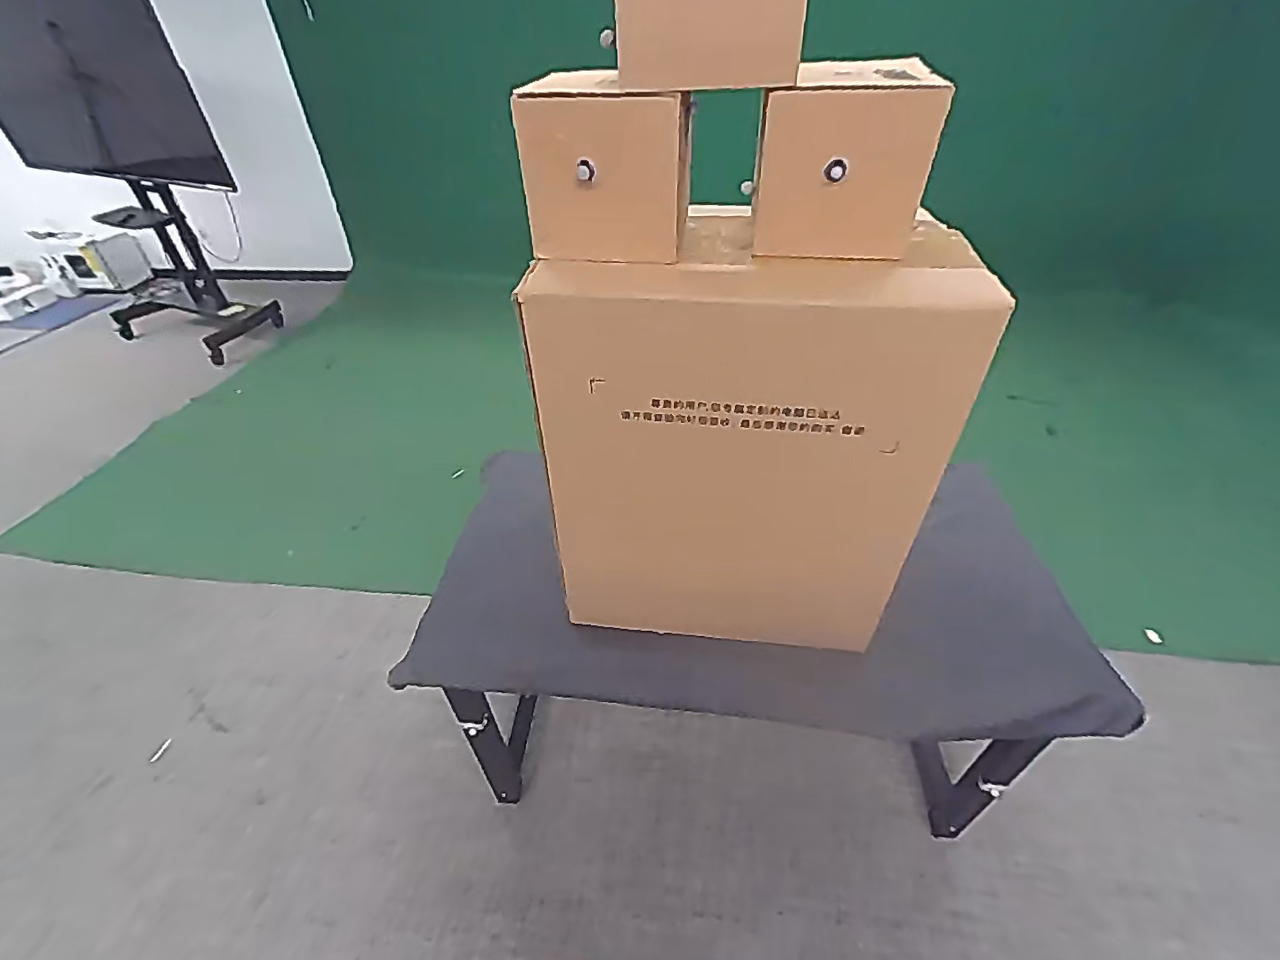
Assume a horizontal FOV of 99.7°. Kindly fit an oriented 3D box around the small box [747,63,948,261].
[{"bbox_3d":[0.224,-0.371,0.635,0.179,0.176,0.168,4,44,8],"label":"small box"}]

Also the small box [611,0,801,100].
[{"bbox_3d":[0.060,-0.488,0.533,0.179,0.176,0.168,-3,42,0],"label":"small box"}]

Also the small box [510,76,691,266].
[{"bbox_3d":[-0.034,-0.371,0.651,0.179,0.176,0.168,5,44,8],"label":"small box"}]
